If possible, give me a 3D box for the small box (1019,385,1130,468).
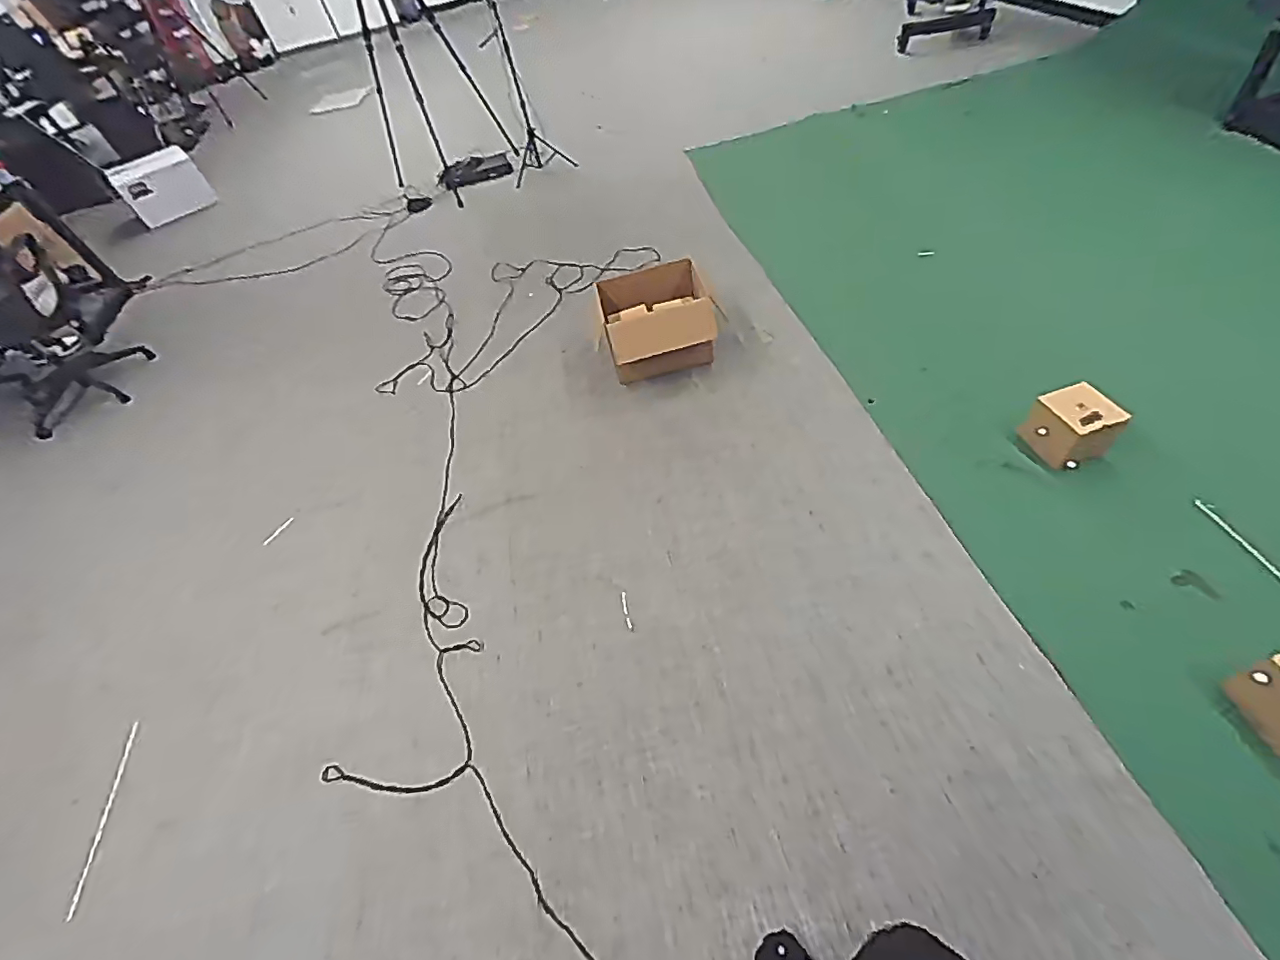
[{"bbox_3d":[1.319,-0.157,1.657,0.168,0.176,0.179,-17,49,-3],"label":"small box"}]
